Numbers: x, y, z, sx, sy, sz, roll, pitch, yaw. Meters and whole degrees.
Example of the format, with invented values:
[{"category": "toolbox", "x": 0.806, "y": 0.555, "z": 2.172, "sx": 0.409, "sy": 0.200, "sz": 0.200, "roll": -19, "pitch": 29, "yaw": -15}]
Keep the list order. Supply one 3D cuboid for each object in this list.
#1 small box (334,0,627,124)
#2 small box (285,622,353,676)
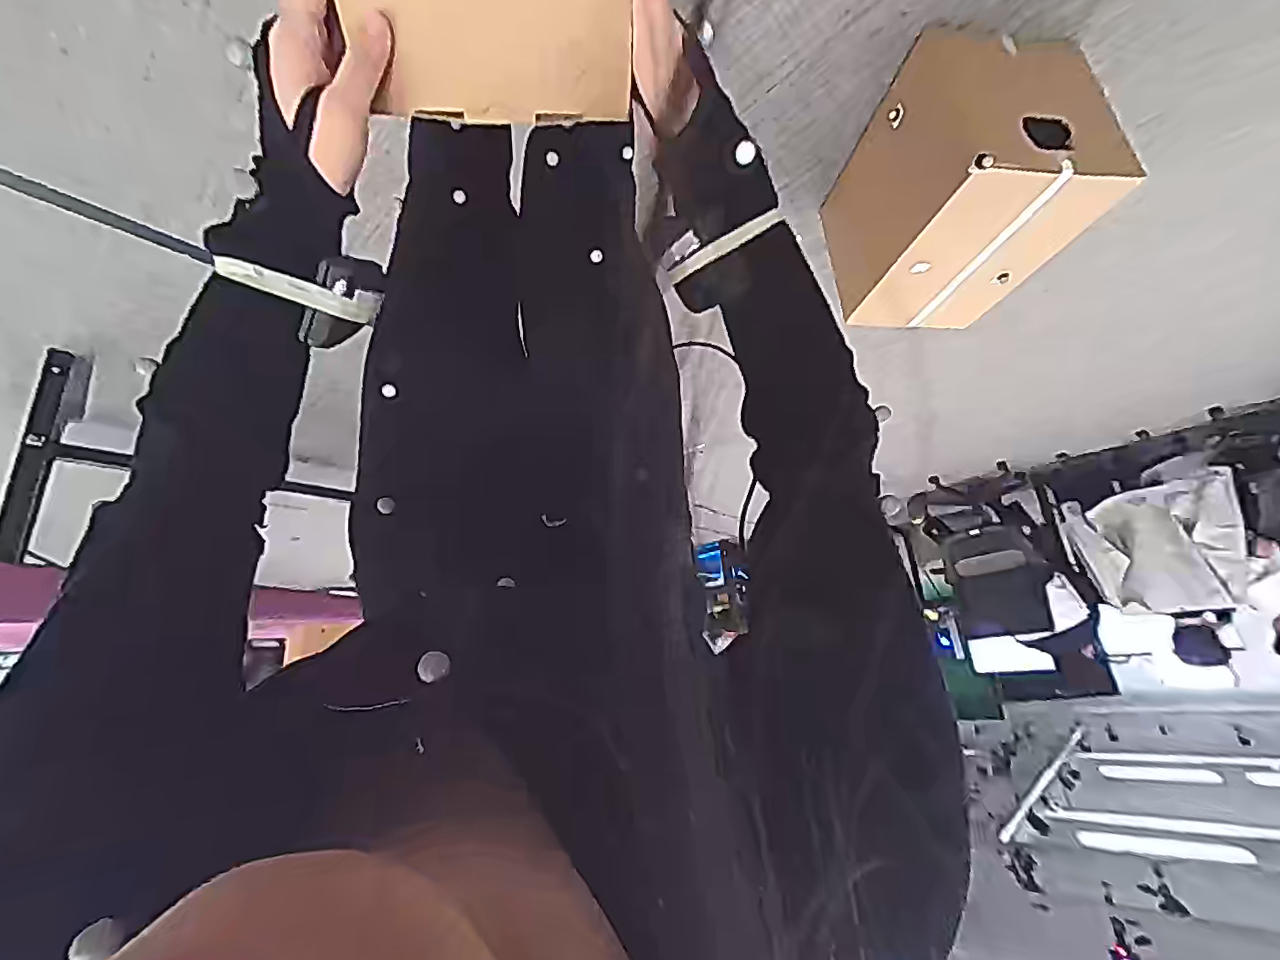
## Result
[{"category": "small box", "x": -0.091, "y": -0.346, "z": 0.342, "sx": 0.168, "sy": 0.176, "sz": 0.179, "roll": -1, "pitch": 132, "yaw": -2}, {"category": "small box", "x": -1.148, "y": 0.603, "z": 1.938, "sx": 0.179, "sy": 0.176, "sz": 0.168, "roll": -20, "pitch": 156, "yaw": 39}]
